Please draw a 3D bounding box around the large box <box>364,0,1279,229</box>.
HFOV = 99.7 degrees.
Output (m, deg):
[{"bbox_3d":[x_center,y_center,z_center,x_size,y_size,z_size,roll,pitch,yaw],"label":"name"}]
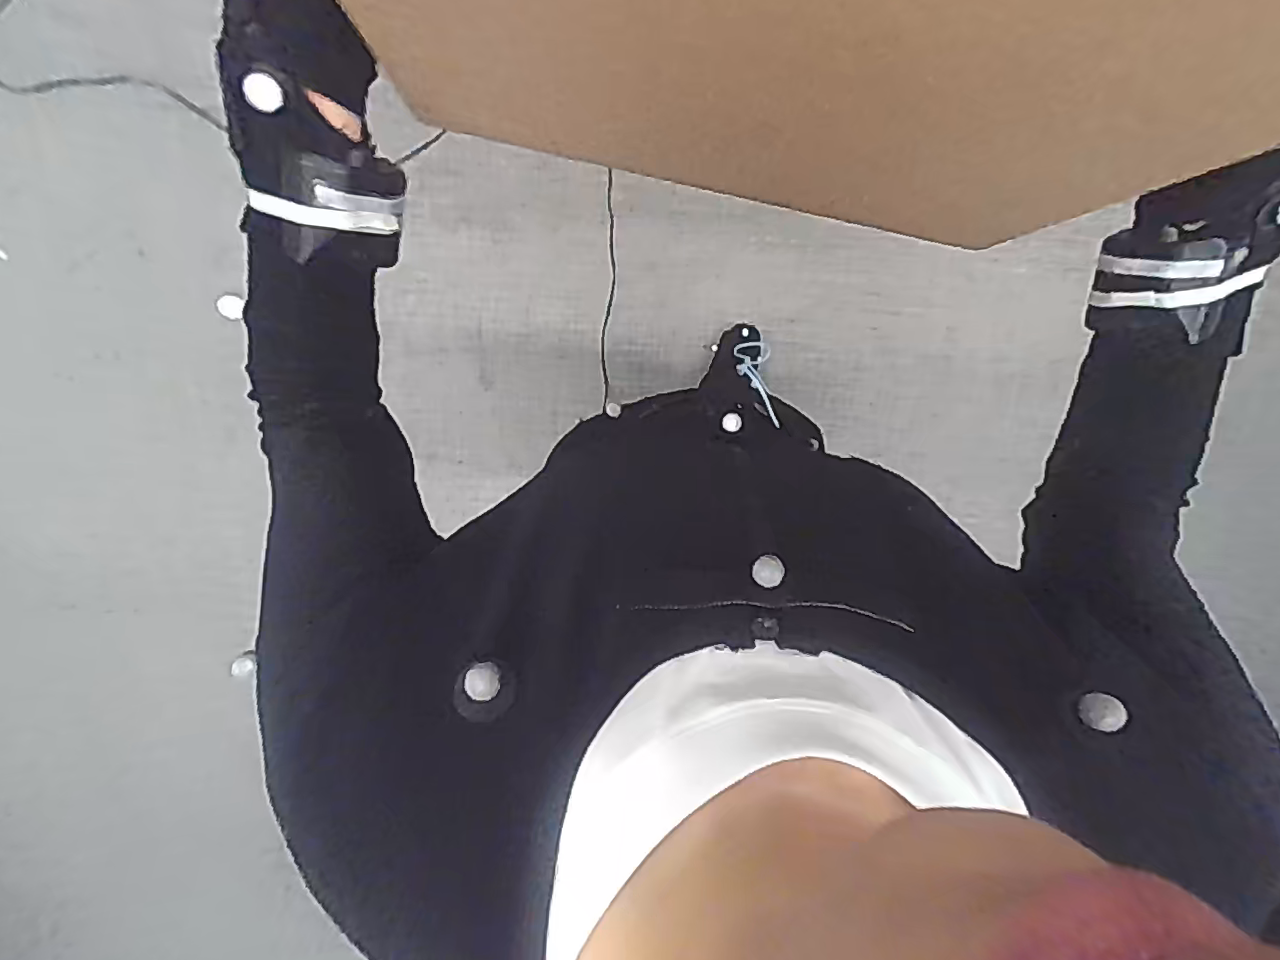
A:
[{"bbox_3d":[0.092,-0.332,0.201,0.408,0.320,0.320,9,99,-7],"label":"large box"}]
